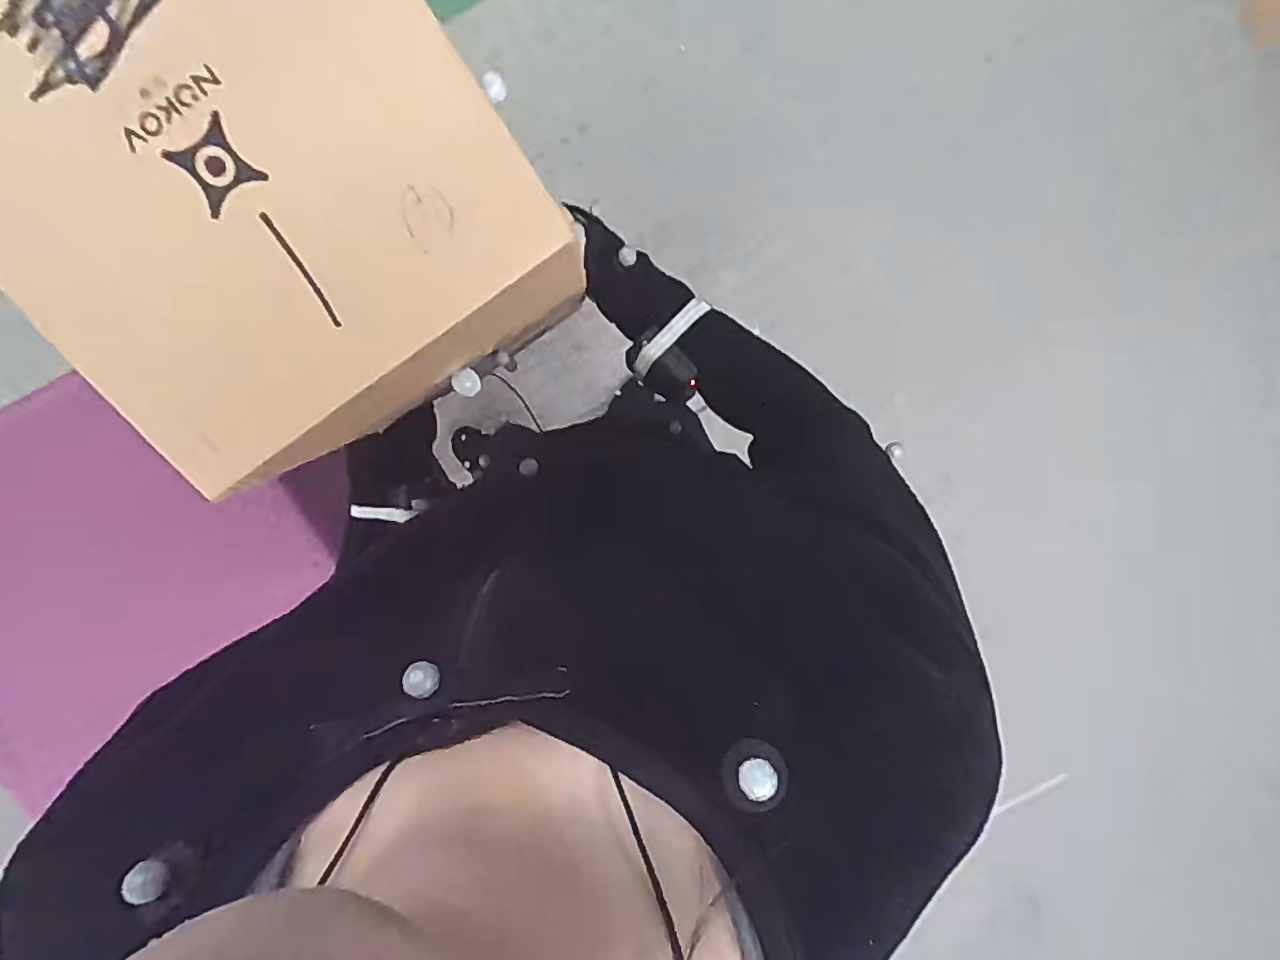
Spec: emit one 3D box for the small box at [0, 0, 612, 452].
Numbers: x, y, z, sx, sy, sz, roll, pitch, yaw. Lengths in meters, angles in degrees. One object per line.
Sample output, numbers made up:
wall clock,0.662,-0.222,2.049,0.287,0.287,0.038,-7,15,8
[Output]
small box,-0.129,-0.139,0.242,0.168,0.176,0.179,-33,106,5
